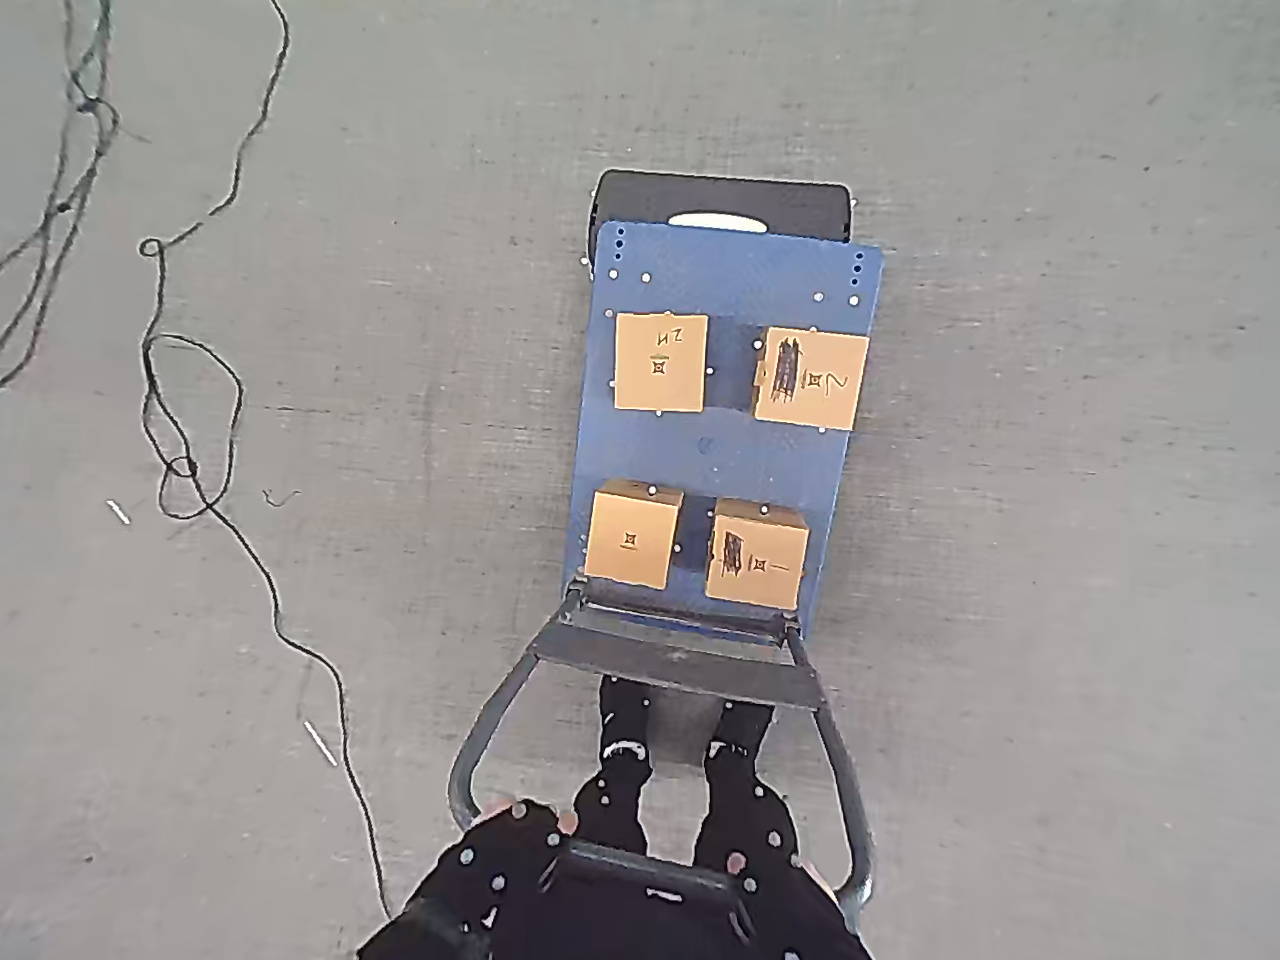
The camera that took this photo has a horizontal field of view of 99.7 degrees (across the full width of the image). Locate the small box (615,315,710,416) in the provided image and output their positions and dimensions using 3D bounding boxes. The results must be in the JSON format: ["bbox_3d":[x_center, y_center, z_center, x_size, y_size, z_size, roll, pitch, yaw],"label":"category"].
[{"bbox_3d":[0.049,-0.224,1.066,0.168,0.176,0.179,4,100,6],"label":"small box"}]

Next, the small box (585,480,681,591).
[{"bbox_3d":[-0.009,0.107,1.132,0.168,0.176,0.179,10,102,6],"label":"small box"}]
